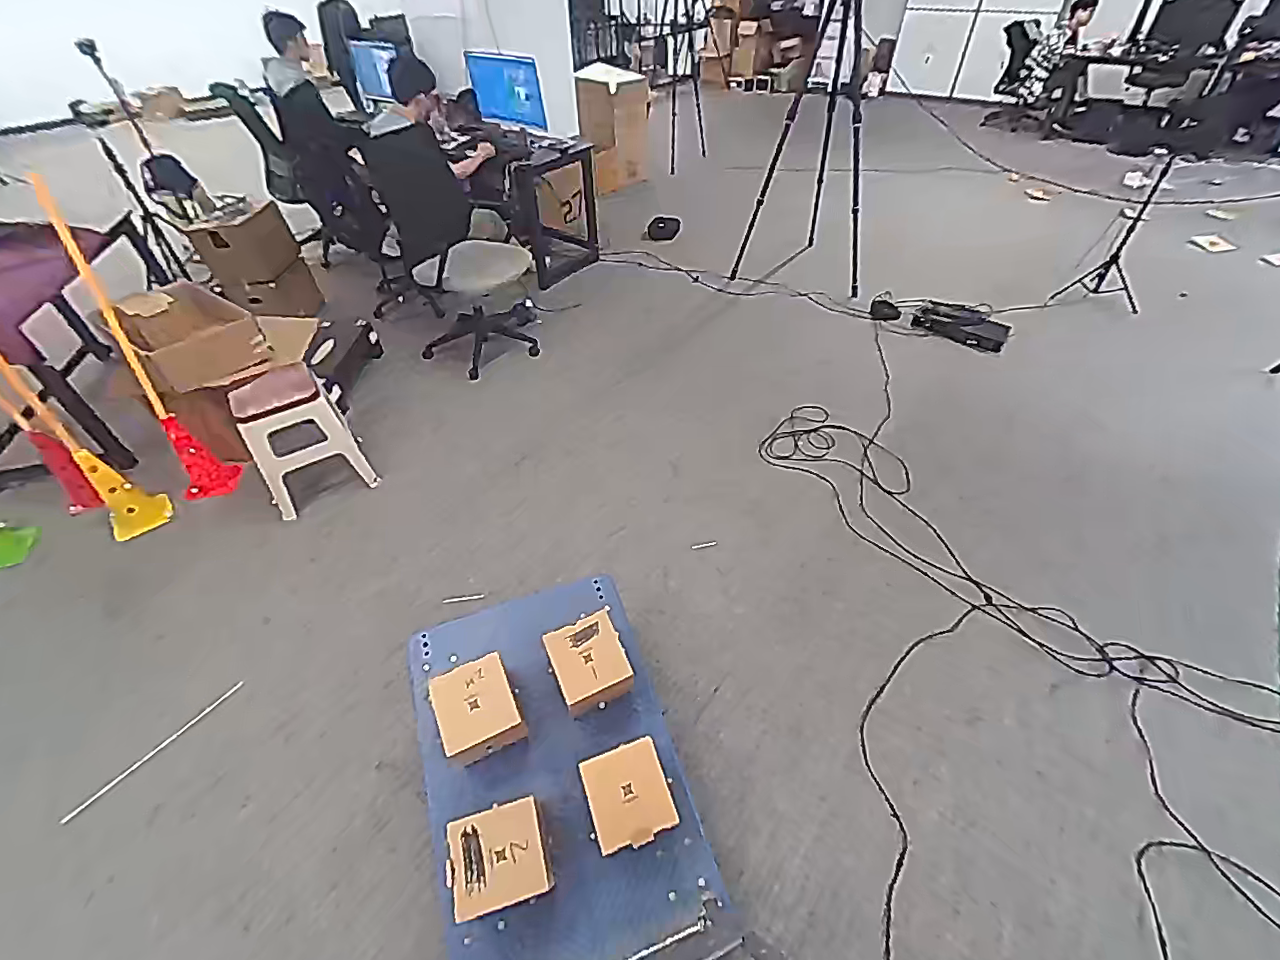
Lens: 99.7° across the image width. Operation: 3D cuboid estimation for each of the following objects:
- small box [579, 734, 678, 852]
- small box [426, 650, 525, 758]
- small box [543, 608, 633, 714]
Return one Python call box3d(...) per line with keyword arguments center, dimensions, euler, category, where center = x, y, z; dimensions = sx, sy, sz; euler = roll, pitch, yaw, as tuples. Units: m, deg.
box3d(center=(-0.032, 0.687, 1.186), dimensions=(0.168, 0.176, 0.179), euler=(-15, 60, -14), category="small box")
box3d(center=(-0.377, 0.528, 1.261), dimensions=(0.168, 0.176, 0.179), euler=(-19, 61, -17), category="small box")
box3d(center=(-0.130, 0.448, 1.333), dimensions=(0.168, 0.176, 0.179), euler=(-20, 61, -16), category="small box")
